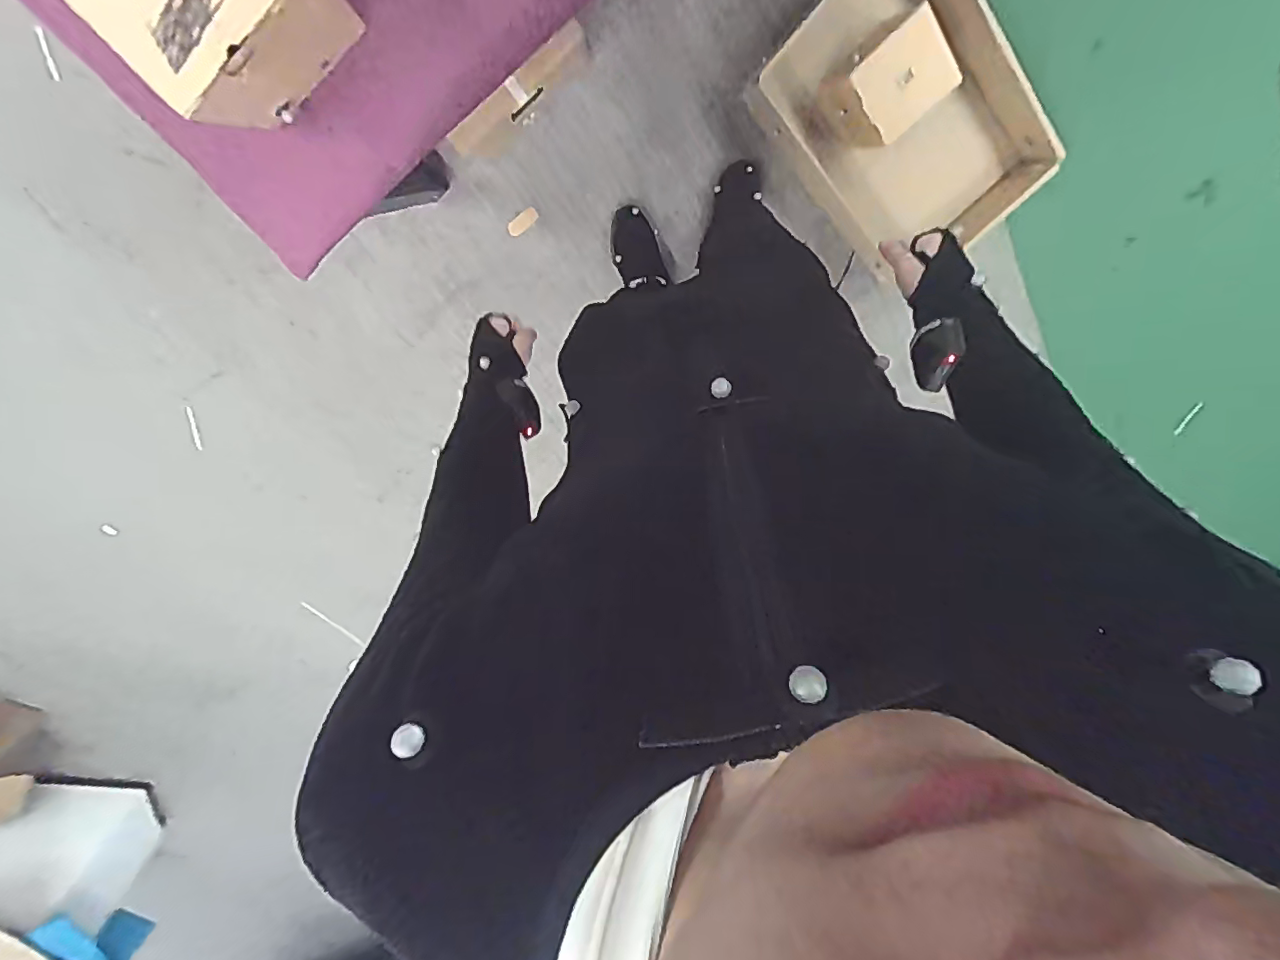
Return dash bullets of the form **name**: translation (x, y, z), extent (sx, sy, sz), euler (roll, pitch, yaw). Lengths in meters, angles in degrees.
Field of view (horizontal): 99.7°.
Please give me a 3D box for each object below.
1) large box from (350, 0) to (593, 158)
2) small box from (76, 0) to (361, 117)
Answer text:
- **large box**: translation (-0.337, -0.912, 1.046), extent (0.320, 0.320, 0.408), euler (-35, 115, 15)
- **small box**: translation (-0.415, -0.486, 0.523), extent (0.168, 0.176, 0.179), euler (-34, 115, 15)
